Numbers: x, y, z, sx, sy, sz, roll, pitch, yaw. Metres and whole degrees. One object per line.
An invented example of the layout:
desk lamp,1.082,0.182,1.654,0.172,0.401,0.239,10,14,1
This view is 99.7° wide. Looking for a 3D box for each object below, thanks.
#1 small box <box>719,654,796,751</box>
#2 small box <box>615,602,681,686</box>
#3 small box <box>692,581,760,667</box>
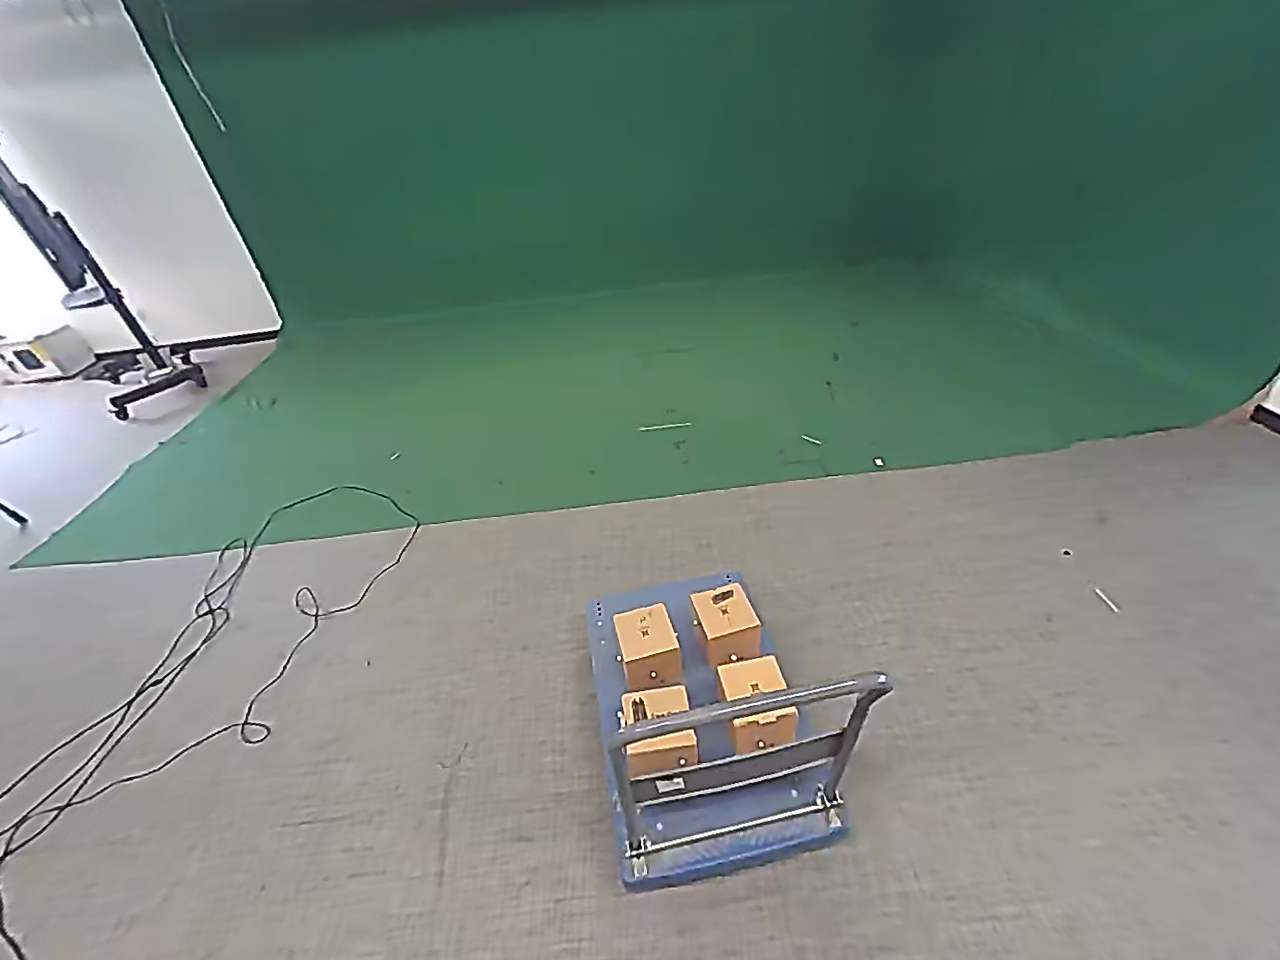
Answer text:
small box,0.317,0.616,1.499,0.168,0.176,0.179,-10,38,-4
small box,0.025,0.514,1.678,0.168,0.176,0.179,-12,38,-8
small box,0.268,0.456,1.712,0.168,0.176,0.179,-14,39,-7
